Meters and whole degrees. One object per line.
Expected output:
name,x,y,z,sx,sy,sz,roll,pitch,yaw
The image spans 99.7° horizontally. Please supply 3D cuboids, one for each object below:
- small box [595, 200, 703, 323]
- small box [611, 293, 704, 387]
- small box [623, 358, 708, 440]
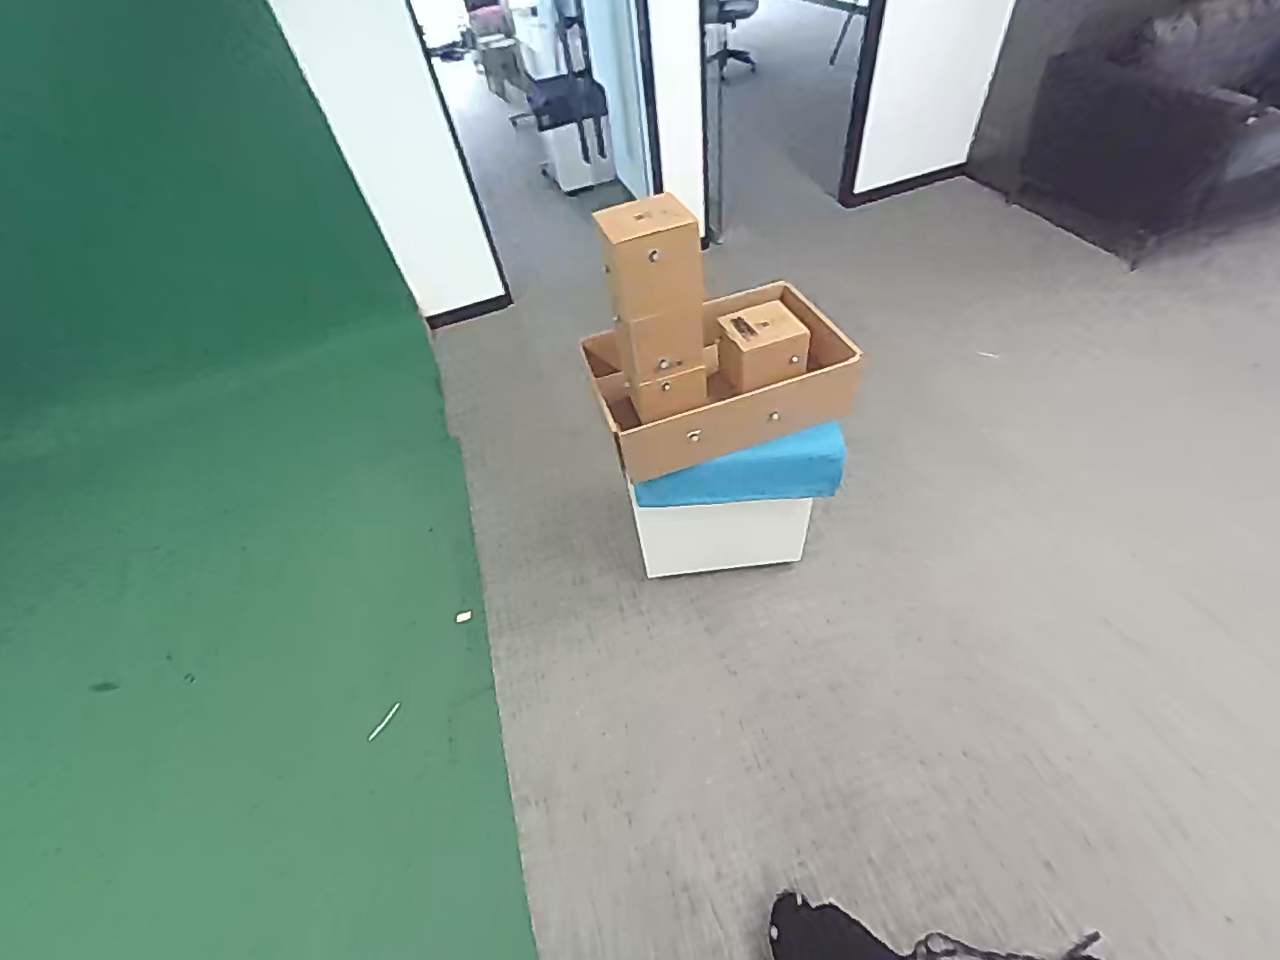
small box,0.021,-0.450,1.122,0.179,0.176,0.168,-18,48,-6
small box,0.041,-0.344,1.246,0.168,0.176,0.179,-17,48,-7
small box,0.064,-0.231,1.361,0.168,0.176,0.179,-18,47,-6
